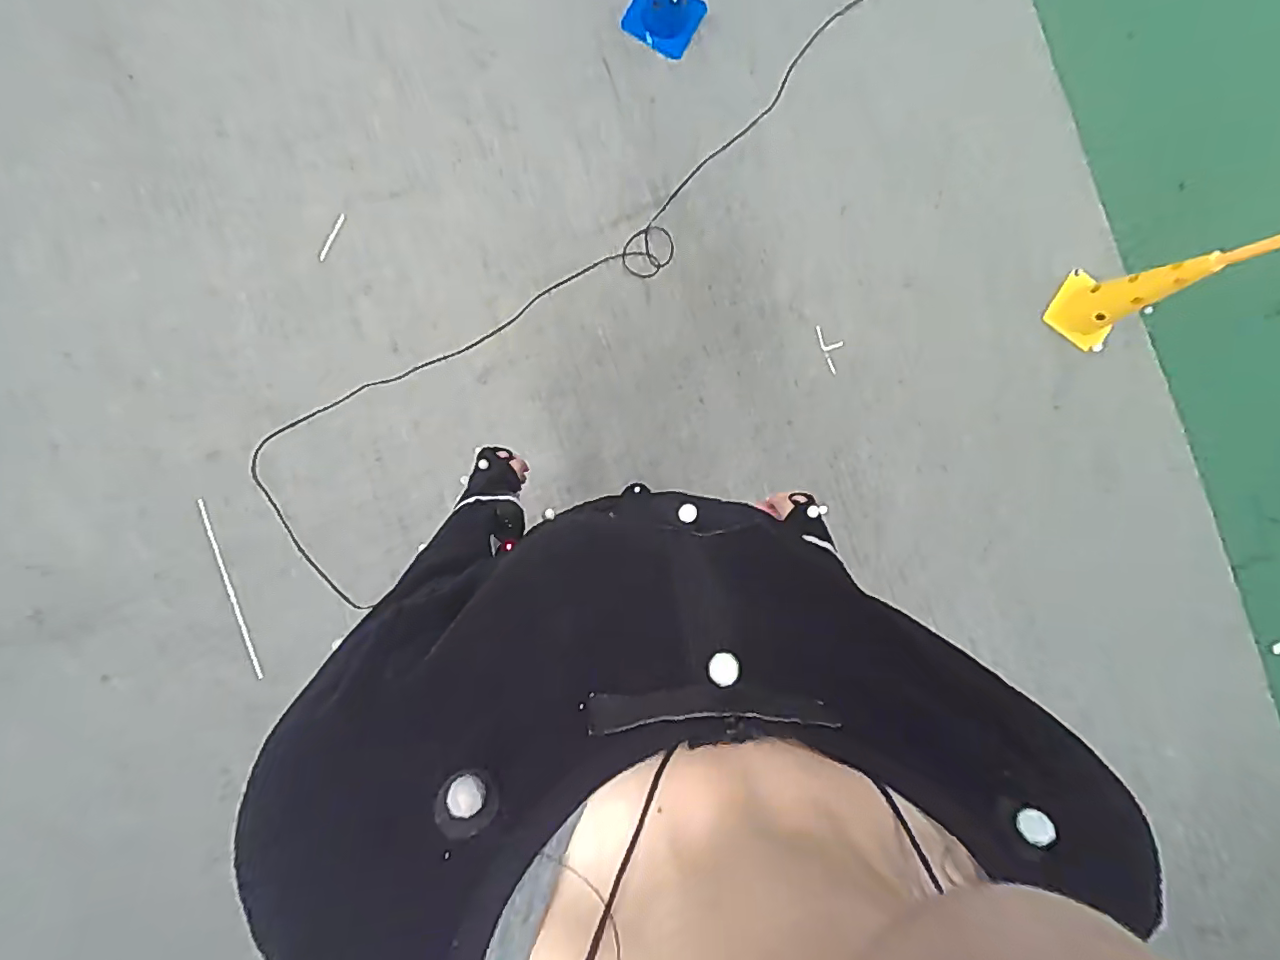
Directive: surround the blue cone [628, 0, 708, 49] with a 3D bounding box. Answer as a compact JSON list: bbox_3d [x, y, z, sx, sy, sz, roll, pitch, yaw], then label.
[{"bbox_3d":[0.085,-1.337,1.369,0.193,0.380,0.192,26,87,-1],"label":"blue cone"}]
